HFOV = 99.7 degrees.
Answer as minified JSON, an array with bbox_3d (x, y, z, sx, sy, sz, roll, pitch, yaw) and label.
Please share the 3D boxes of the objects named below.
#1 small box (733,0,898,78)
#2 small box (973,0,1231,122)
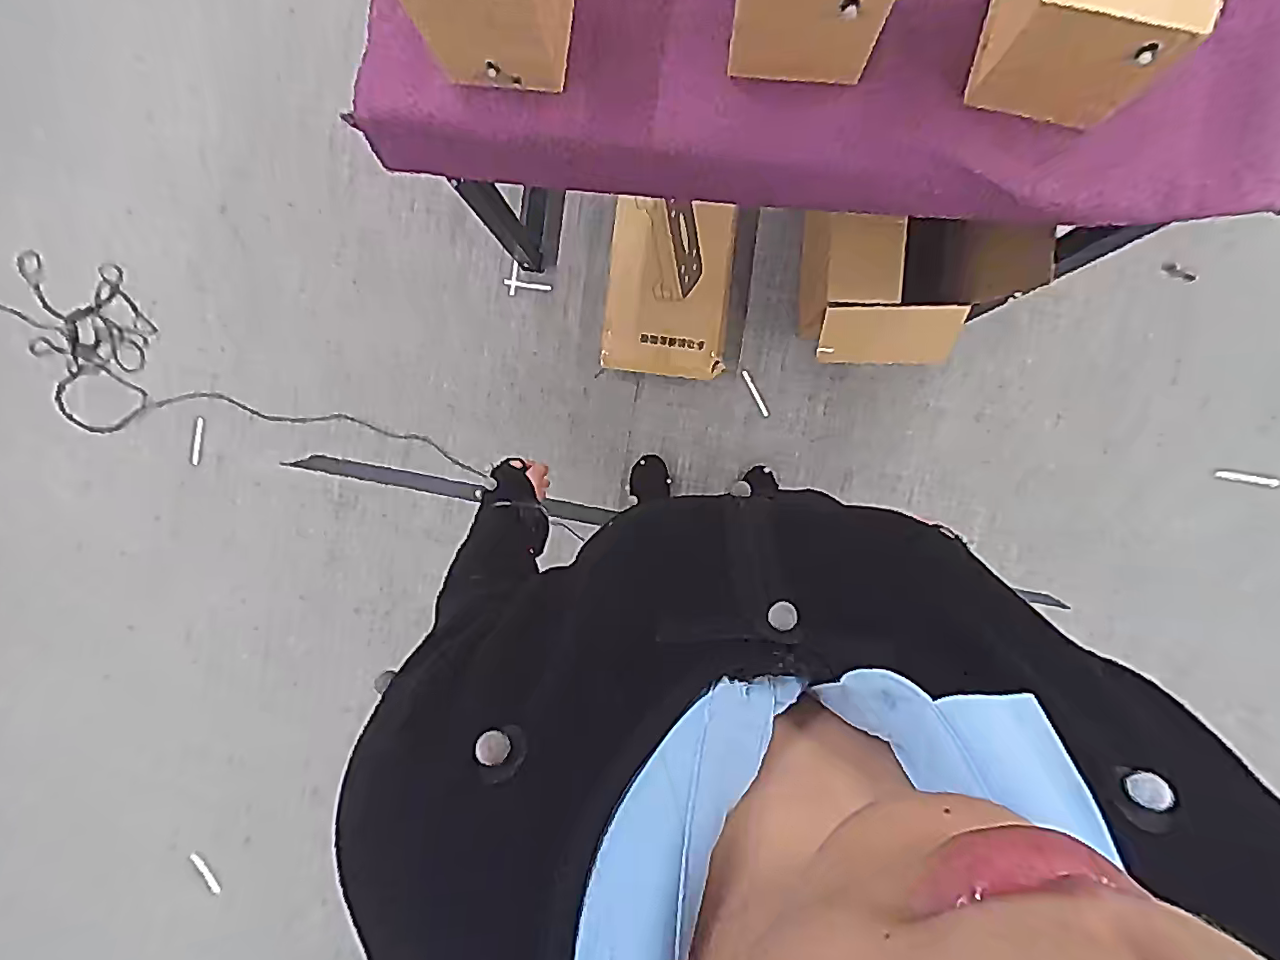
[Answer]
[{"bbox_3d":[0.216,-0.620,0.642,0.179,0.176,0.168,7,91,4],"label":"small box"},{"bbox_3d":[0.527,-0.554,0.623,0.179,0.176,0.168,15,93,3],"label":"small box"}]
